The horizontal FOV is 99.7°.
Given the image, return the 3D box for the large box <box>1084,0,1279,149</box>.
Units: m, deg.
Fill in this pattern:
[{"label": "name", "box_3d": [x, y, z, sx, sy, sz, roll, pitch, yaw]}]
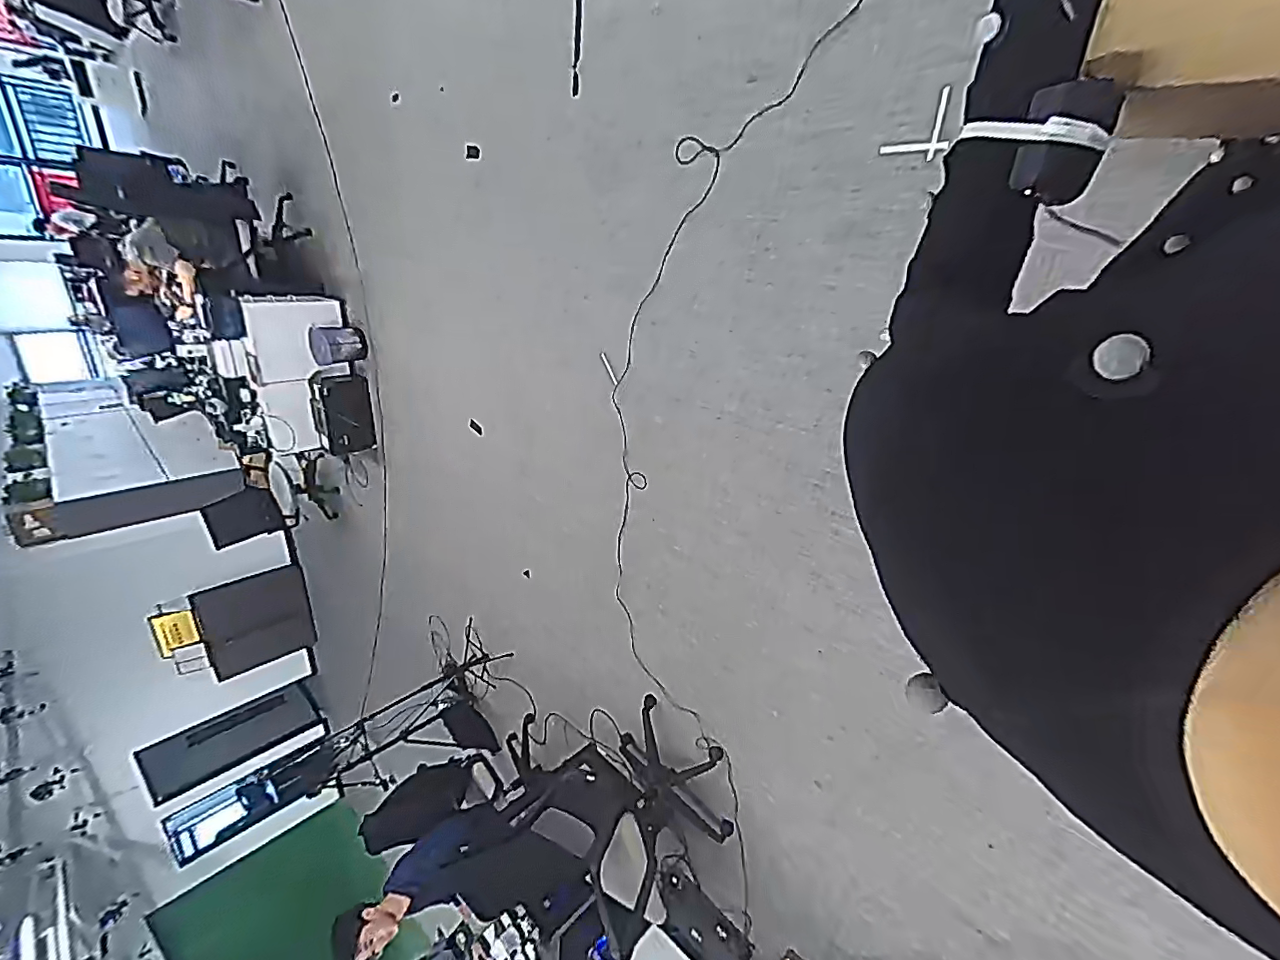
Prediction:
[{"label": "large box", "box_3d": [0.550, -0.386, 0.299, 0.408, 0.320, 0.320, 21, 123, 34]}]
